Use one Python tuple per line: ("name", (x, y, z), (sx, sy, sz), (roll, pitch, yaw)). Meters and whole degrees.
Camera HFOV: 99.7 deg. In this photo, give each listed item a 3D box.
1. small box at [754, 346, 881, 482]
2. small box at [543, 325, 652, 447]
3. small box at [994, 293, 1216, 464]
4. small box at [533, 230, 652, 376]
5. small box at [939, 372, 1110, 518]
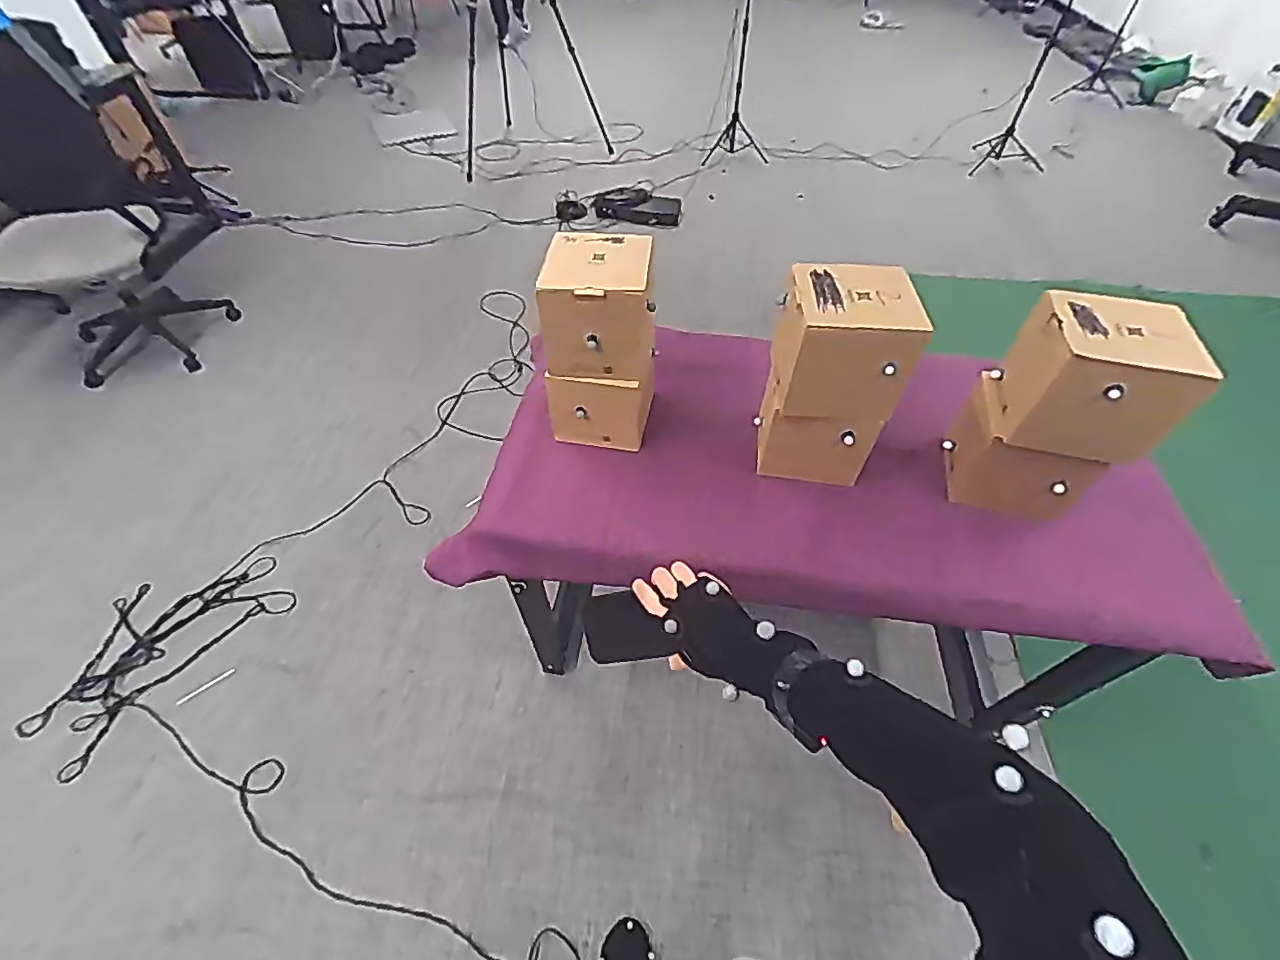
("small box", (0.310, -0.114, 0.972), (0.179, 0.176, 0.168), (8, 51, 7))
("small box", (-0.070, -0.184, 1.029), (0.168, 0.176, 0.179), (8, 51, 7))
("small box", (0.648, -0.145, 0.789), (0.179, 0.176, 0.168), (13, 52, 10))
("small box", (-0.069, -0.293, 0.907), (0.168, 0.176, 0.179), (5, 52, 3))
("small box", (0.642, -0.056, 0.927), (0.179, 0.176, 0.168), (13, 52, 11))
